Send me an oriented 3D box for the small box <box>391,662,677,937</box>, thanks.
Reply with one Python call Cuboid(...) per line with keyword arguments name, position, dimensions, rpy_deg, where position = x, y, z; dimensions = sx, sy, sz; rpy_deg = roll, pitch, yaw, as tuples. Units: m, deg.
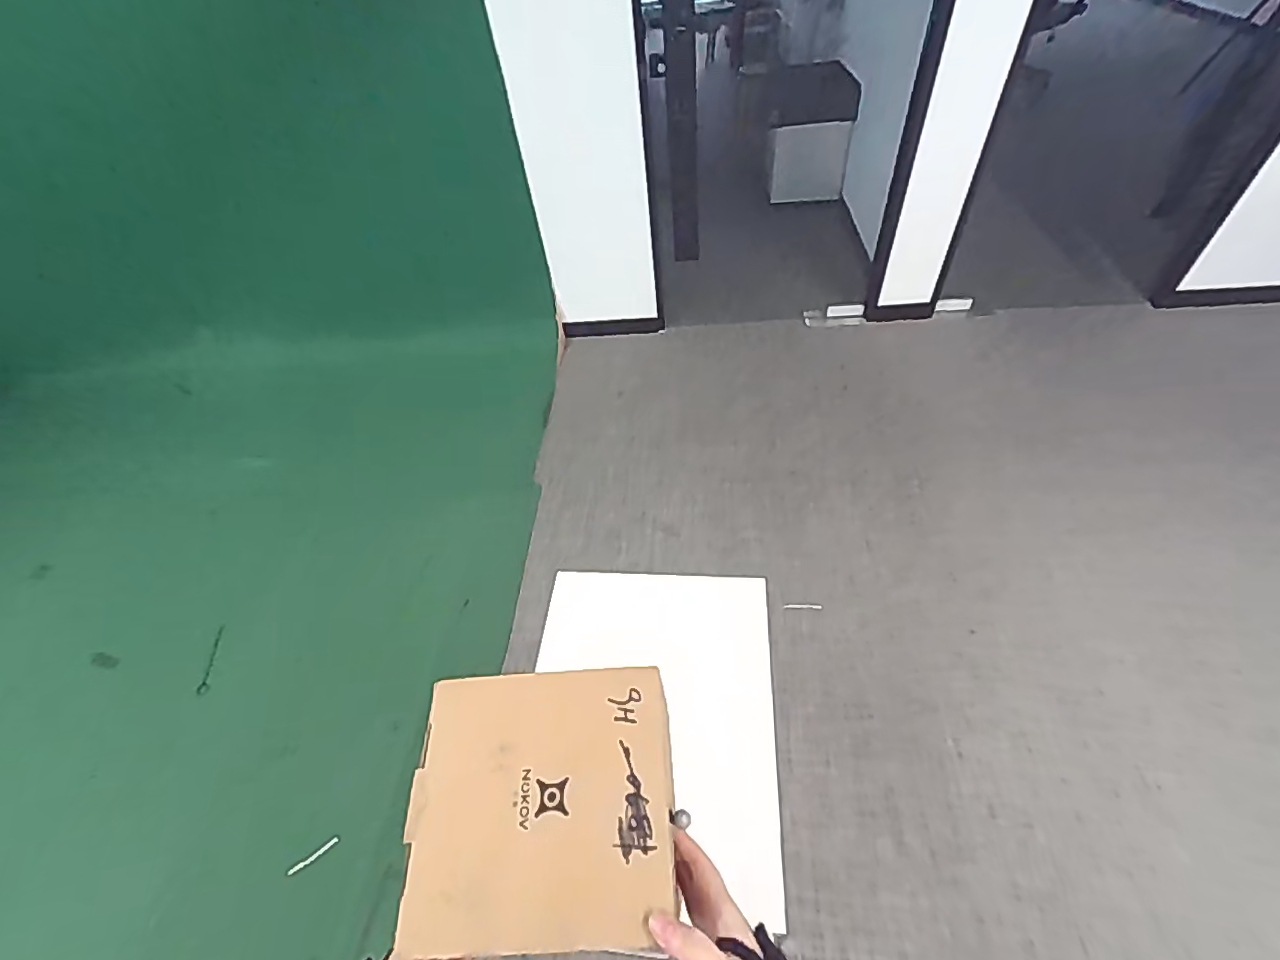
Cuboid(name="small box", position=(-0.064, 0.259, 0.442), dimensions=(0.179, 0.176, 0.168), rpy_deg=(-4, 55, 3))
